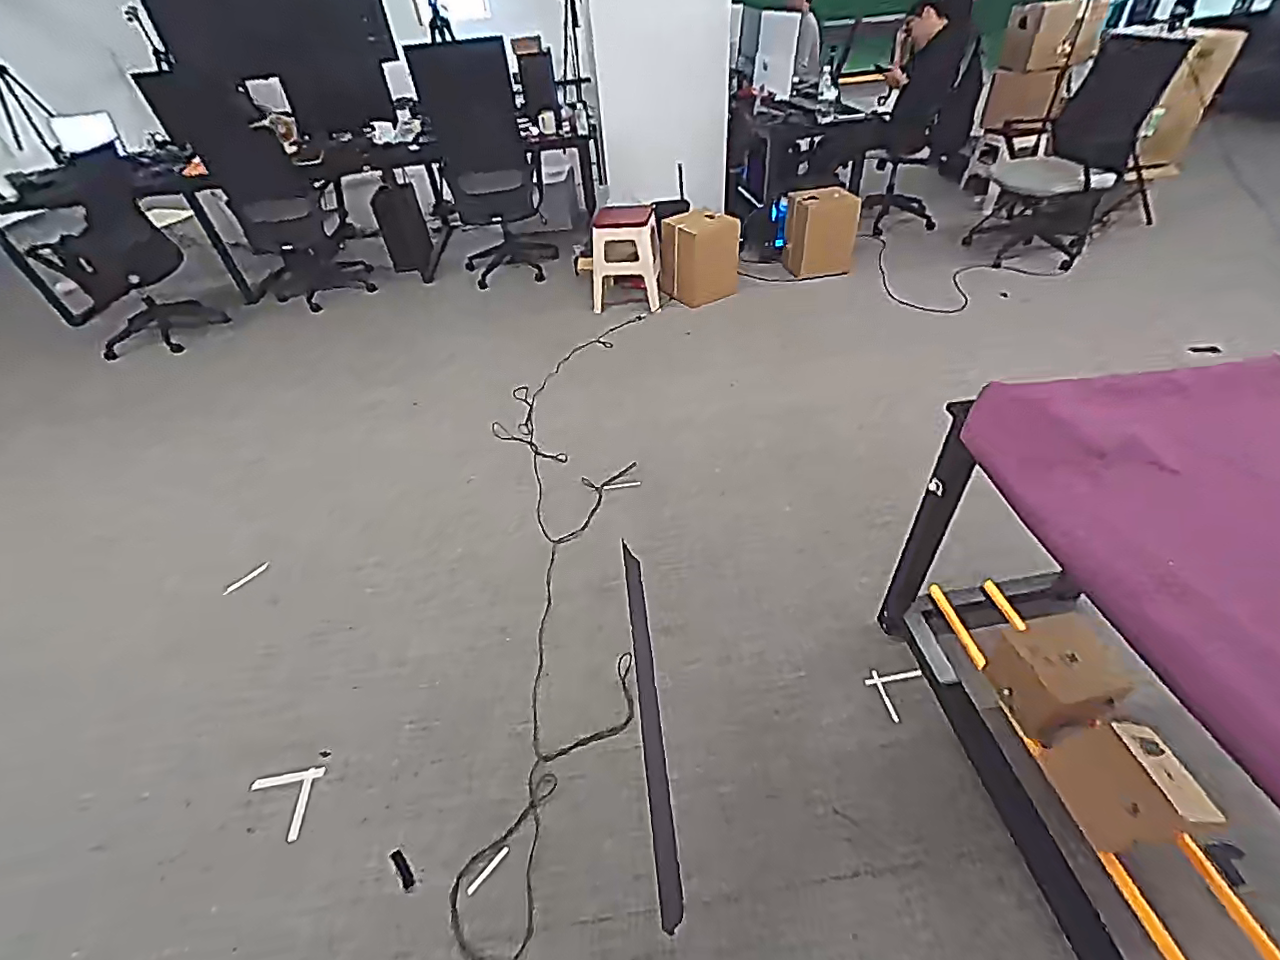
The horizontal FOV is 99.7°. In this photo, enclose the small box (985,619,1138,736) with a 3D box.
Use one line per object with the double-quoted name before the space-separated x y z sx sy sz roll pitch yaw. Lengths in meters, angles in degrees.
"small box" 0.907 0.435 1.186 0.179 0.176 0.168 -11 42 -3
